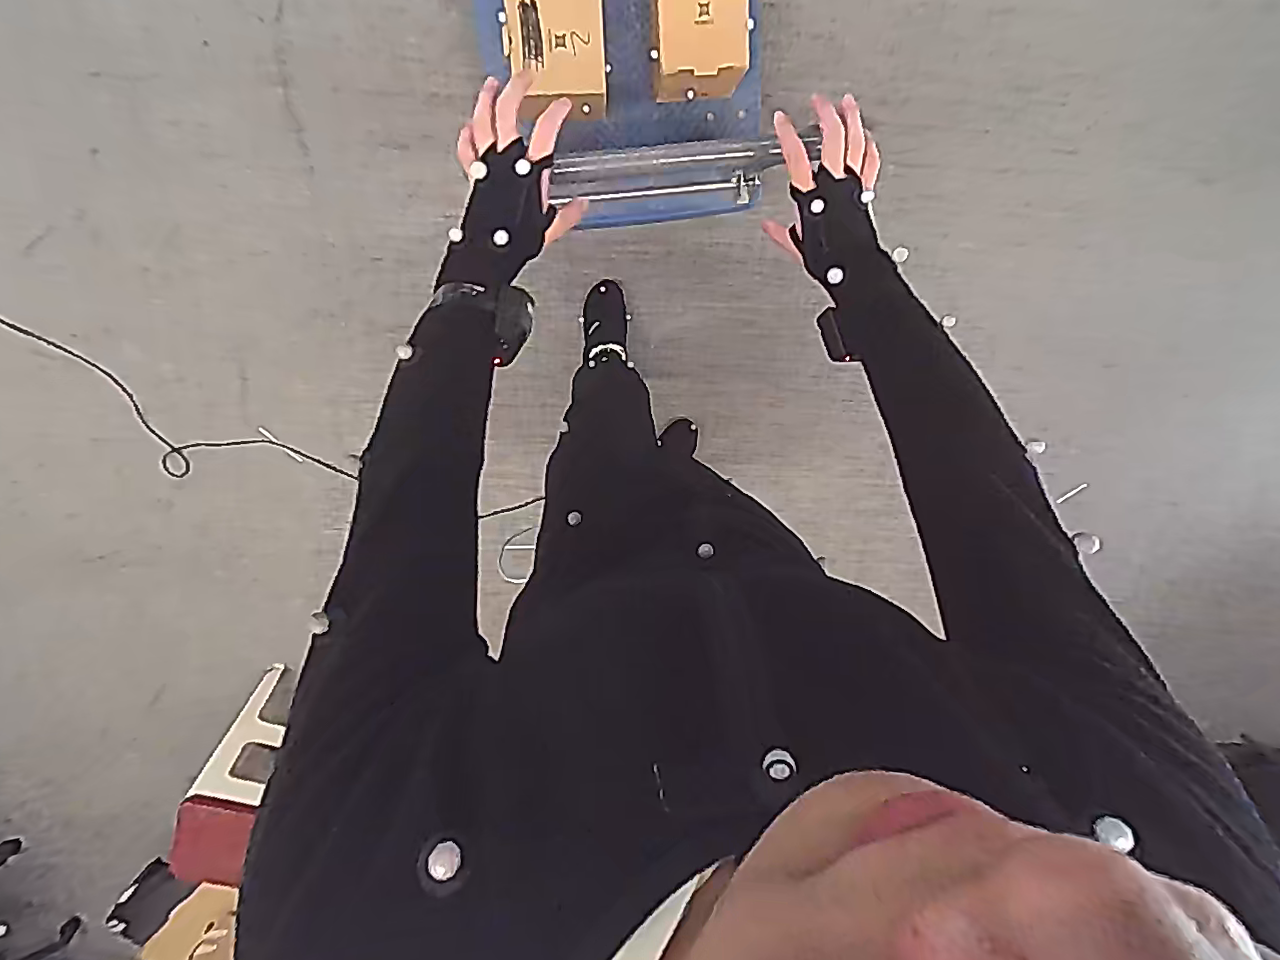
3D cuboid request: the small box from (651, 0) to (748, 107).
[{"bbox_3d":[0.114,-0.871,1.071,0.168,0.176,0.179,-5,110,-1],"label":"small box"}]
